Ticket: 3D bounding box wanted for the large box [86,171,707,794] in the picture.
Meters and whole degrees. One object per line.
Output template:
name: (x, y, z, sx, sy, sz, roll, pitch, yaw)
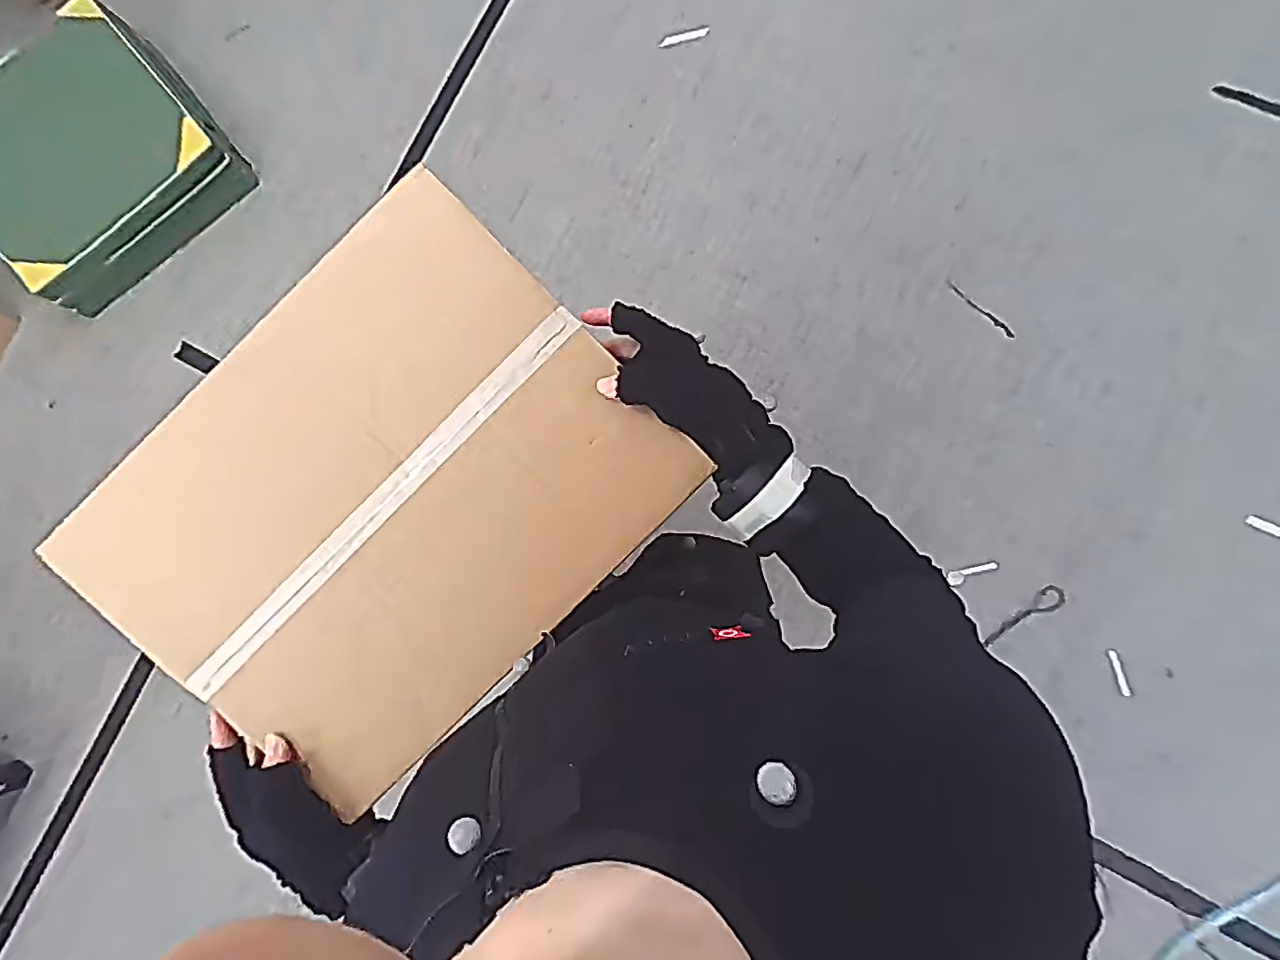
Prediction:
large box: (-0.193, 0.003, 0.570, 0.408, 0.320, 0.320, -44, 95, 2)
